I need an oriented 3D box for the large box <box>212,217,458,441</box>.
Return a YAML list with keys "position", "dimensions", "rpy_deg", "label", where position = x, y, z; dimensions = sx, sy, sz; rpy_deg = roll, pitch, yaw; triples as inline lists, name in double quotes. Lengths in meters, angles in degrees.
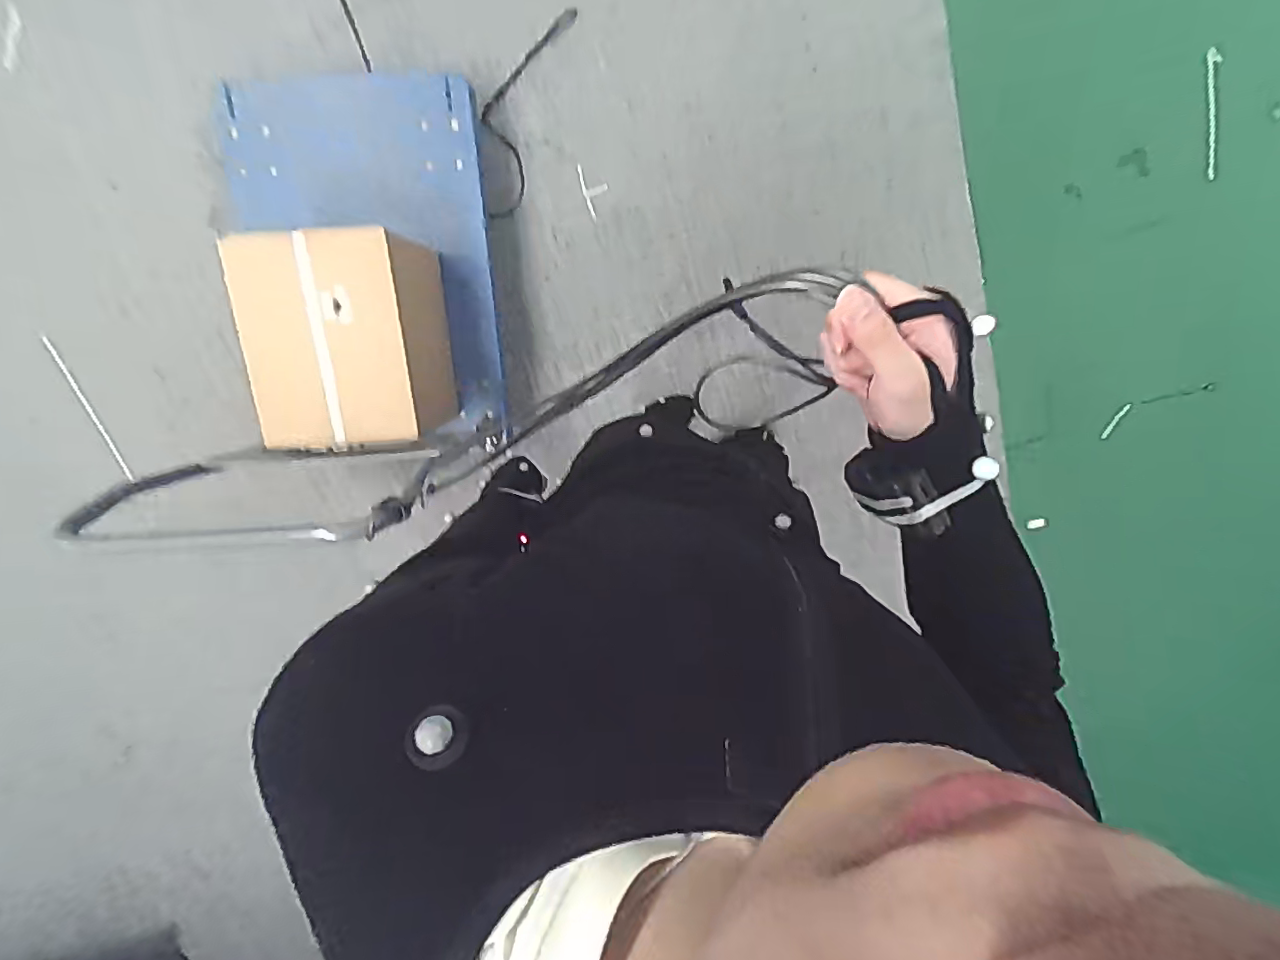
- position: [-0.621, -0.316, 1.180]
  dimensions: [0.320, 0.320, 0.408]
  rpy_deg: [-4, 105, -2]
  label: "large box"
